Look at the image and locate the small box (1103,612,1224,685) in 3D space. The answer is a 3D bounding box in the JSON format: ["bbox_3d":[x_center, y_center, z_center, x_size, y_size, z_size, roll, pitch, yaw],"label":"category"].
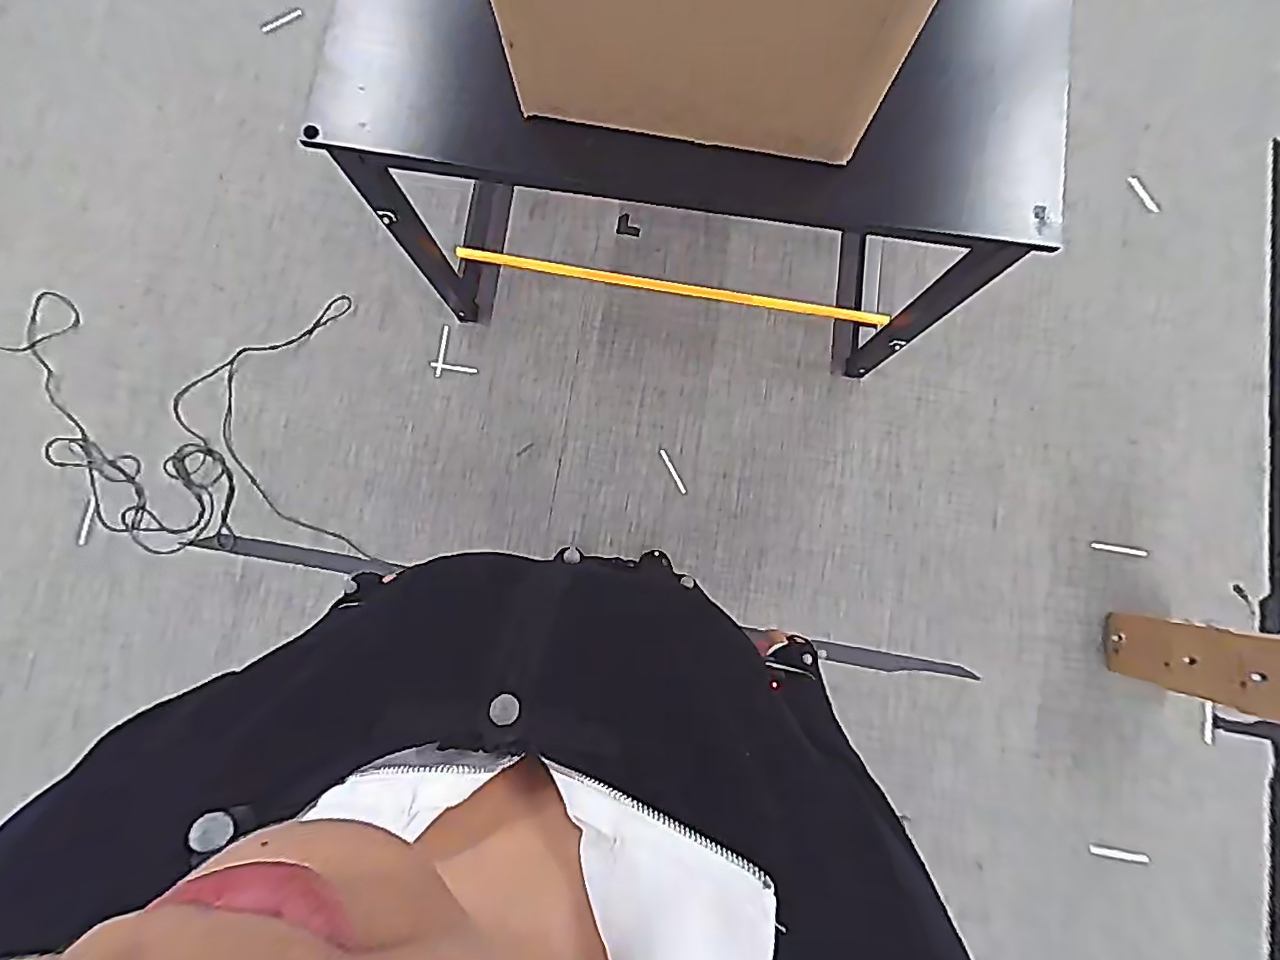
[{"bbox_3d":[1.367,0.443,1.409,0.179,0.176,0.168,7,82,1],"label":"small box"}]

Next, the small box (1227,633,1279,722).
[{"bbox_3d":[1.353,0.403,1.081,0.179,0.176,0.168,3,82,0],"label":"small box"}]

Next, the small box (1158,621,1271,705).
[{"bbox_3d":[1.352,0.425,1.246,0.179,0.176,0.168,7,82,1],"label":"small box"}]
